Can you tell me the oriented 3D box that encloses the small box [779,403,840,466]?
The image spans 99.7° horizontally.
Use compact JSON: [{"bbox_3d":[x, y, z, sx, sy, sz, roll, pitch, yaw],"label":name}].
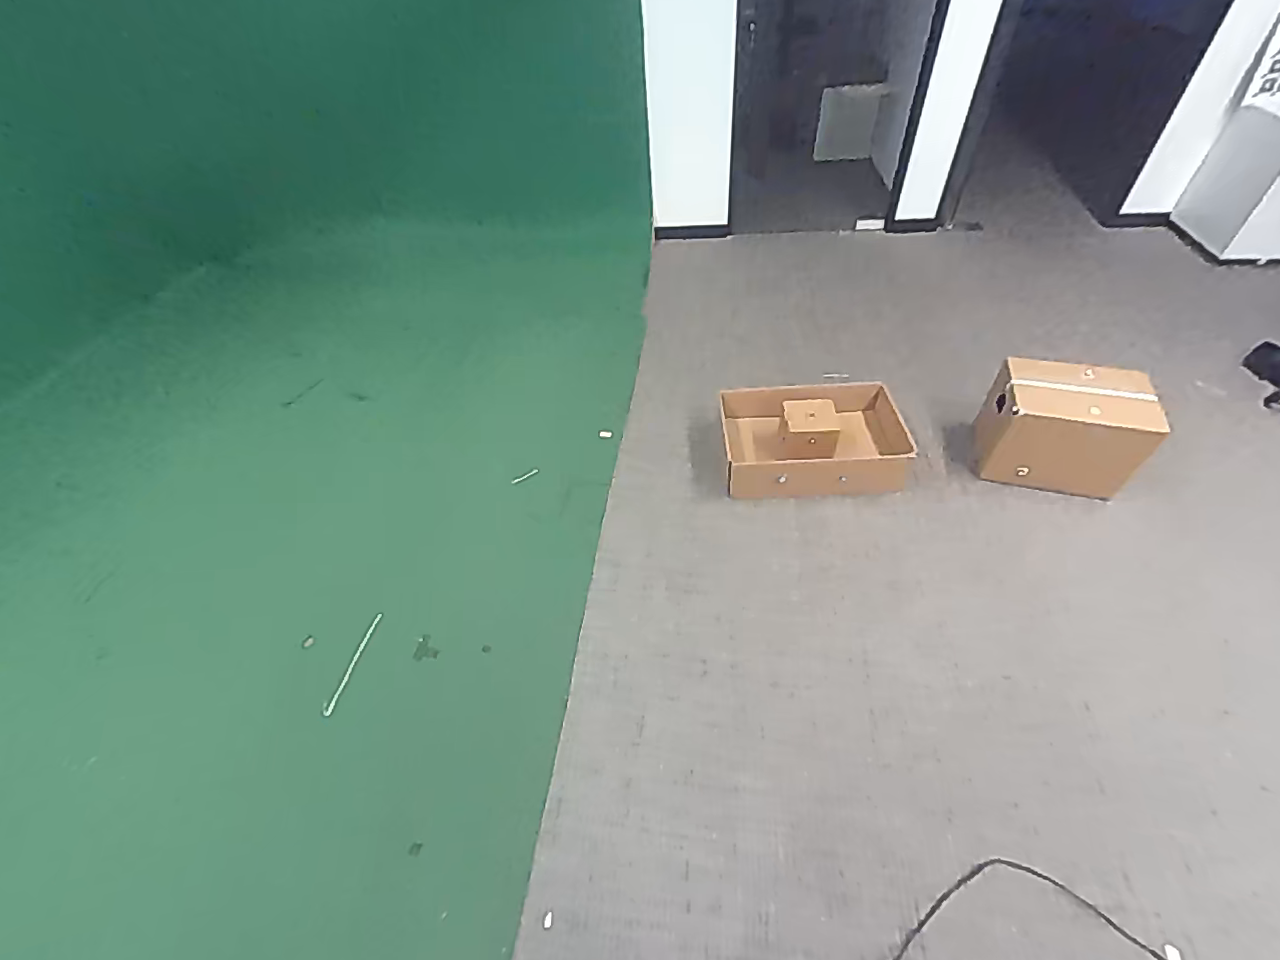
[{"bbox_3d":[0.602,-0.162,1.947,0.179,0.176,0.168,0,47,3],"label":"small box"}]
